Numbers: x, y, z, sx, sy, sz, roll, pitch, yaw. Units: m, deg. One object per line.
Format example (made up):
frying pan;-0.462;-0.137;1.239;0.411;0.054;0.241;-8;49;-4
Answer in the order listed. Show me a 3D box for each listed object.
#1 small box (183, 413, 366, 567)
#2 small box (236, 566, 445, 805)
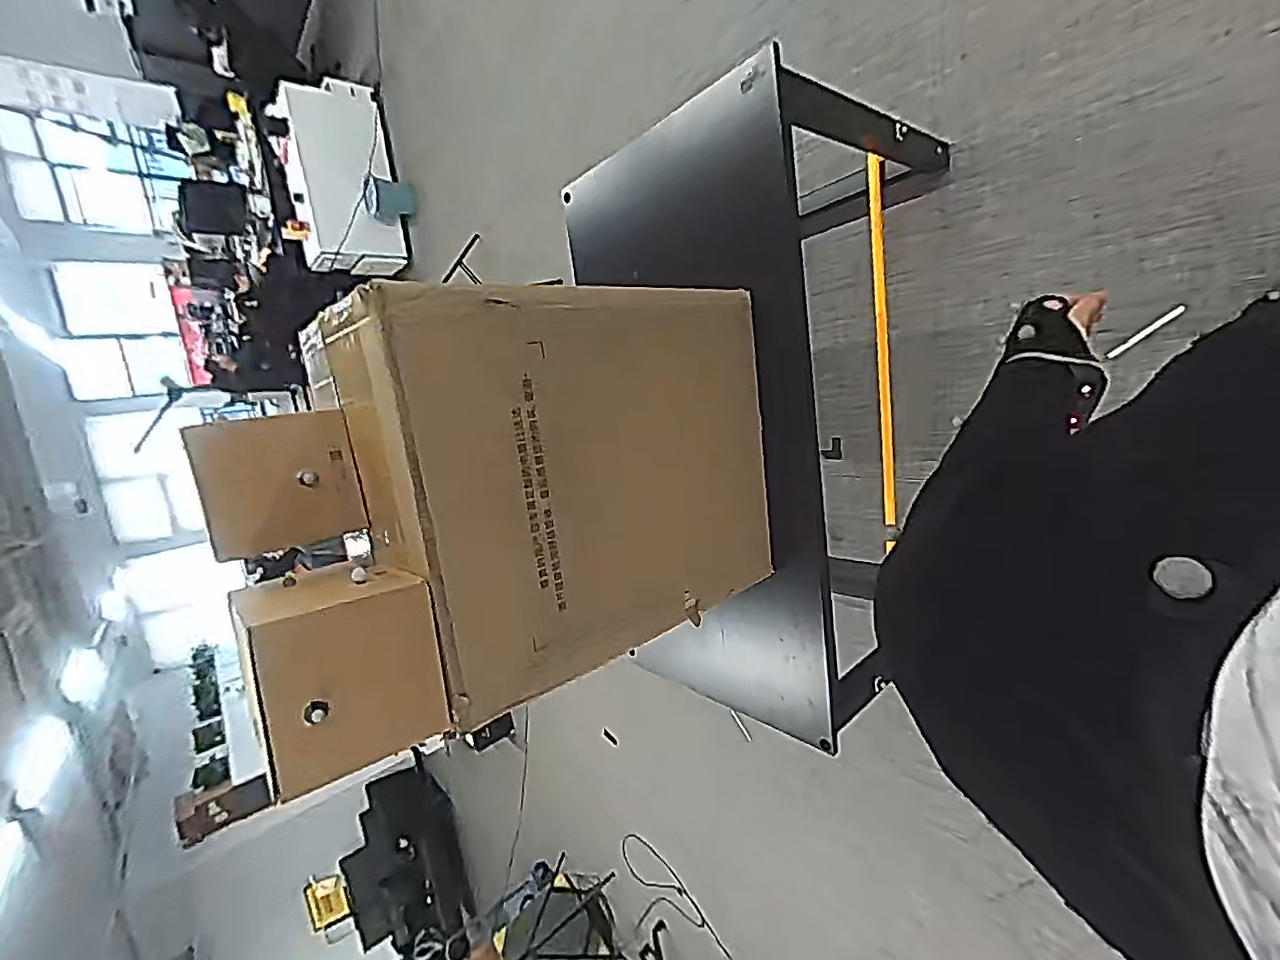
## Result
small box;-0.490;0.006;0.736;0.179;0.176;0.168;1;103;52
small box;-0.335;0.211;0.612;0.168;0.176;0.179;-1;98;50
